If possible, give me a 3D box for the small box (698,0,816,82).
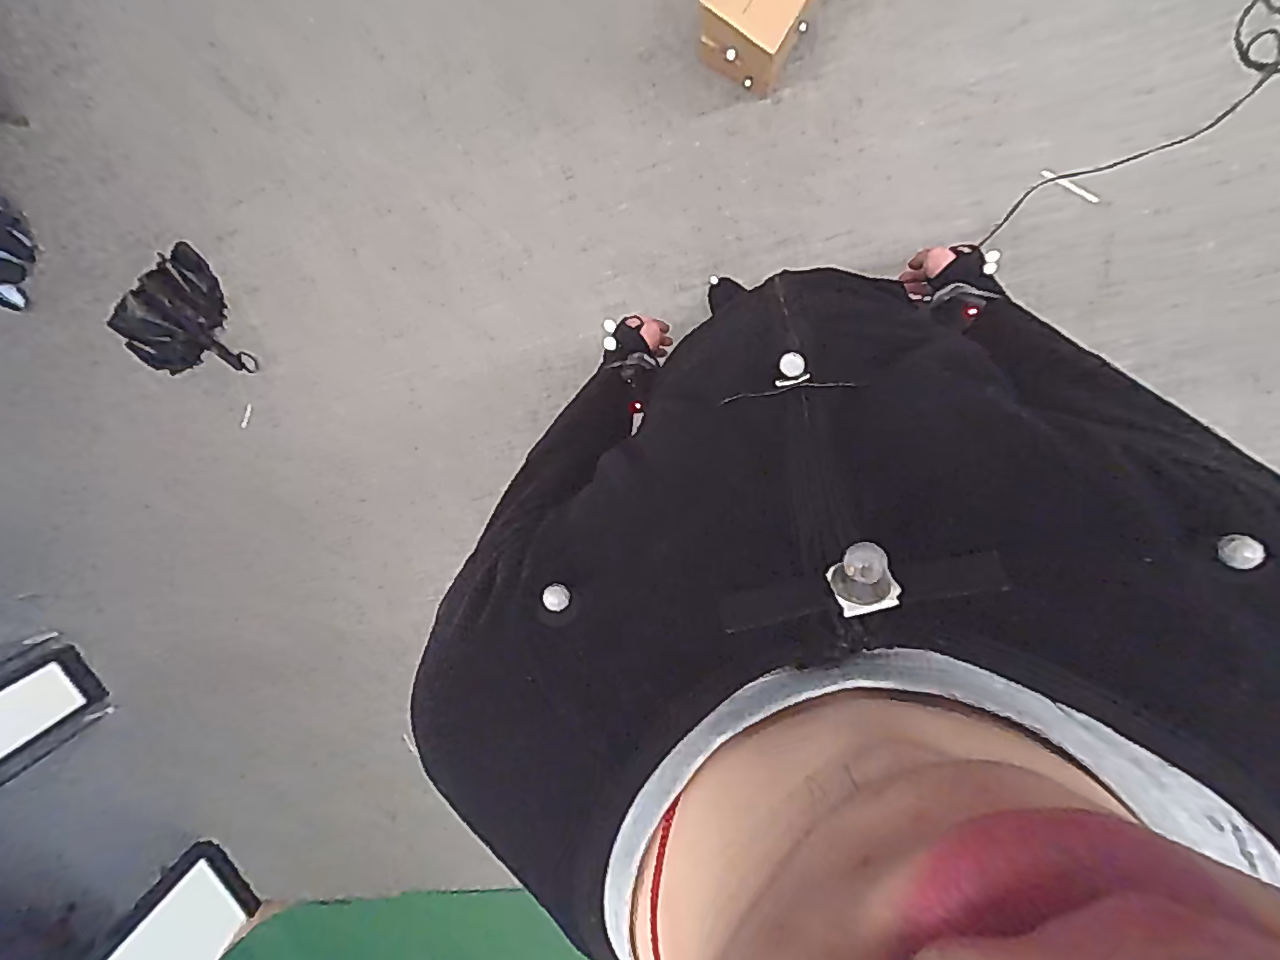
[{"bbox_3d":[0.226,-0.895,1.004,0.168,0.176,0.179,34,114,-3],"label":"small box"}]

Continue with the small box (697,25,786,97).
[{"bbox_3d":[0.240,-0.964,1.153,0.168,0.176,0.179,27,112,-1],"label":"small box"}]
